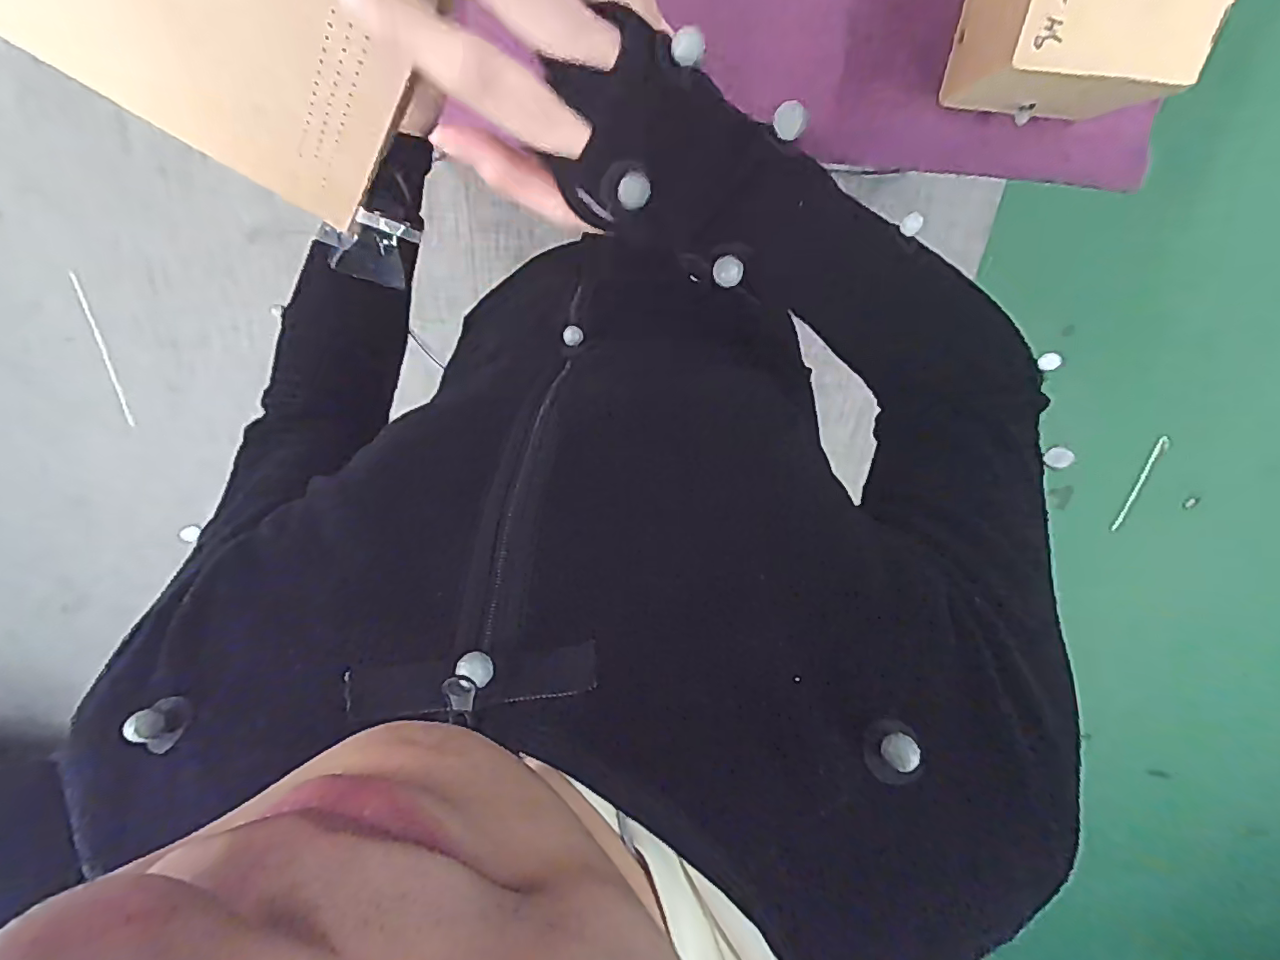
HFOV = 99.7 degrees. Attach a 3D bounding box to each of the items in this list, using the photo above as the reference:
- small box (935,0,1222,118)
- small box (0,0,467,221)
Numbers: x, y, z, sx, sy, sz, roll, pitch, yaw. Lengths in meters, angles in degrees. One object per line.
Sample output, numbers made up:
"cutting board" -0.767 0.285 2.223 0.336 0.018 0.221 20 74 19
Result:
"small box" 0.447 -0.489 0.555 0.179 0.176 0.168 7 114 1
"small box" -0.165 -0.264 0.242 0.176 0.168 0.179 26 156 -33
